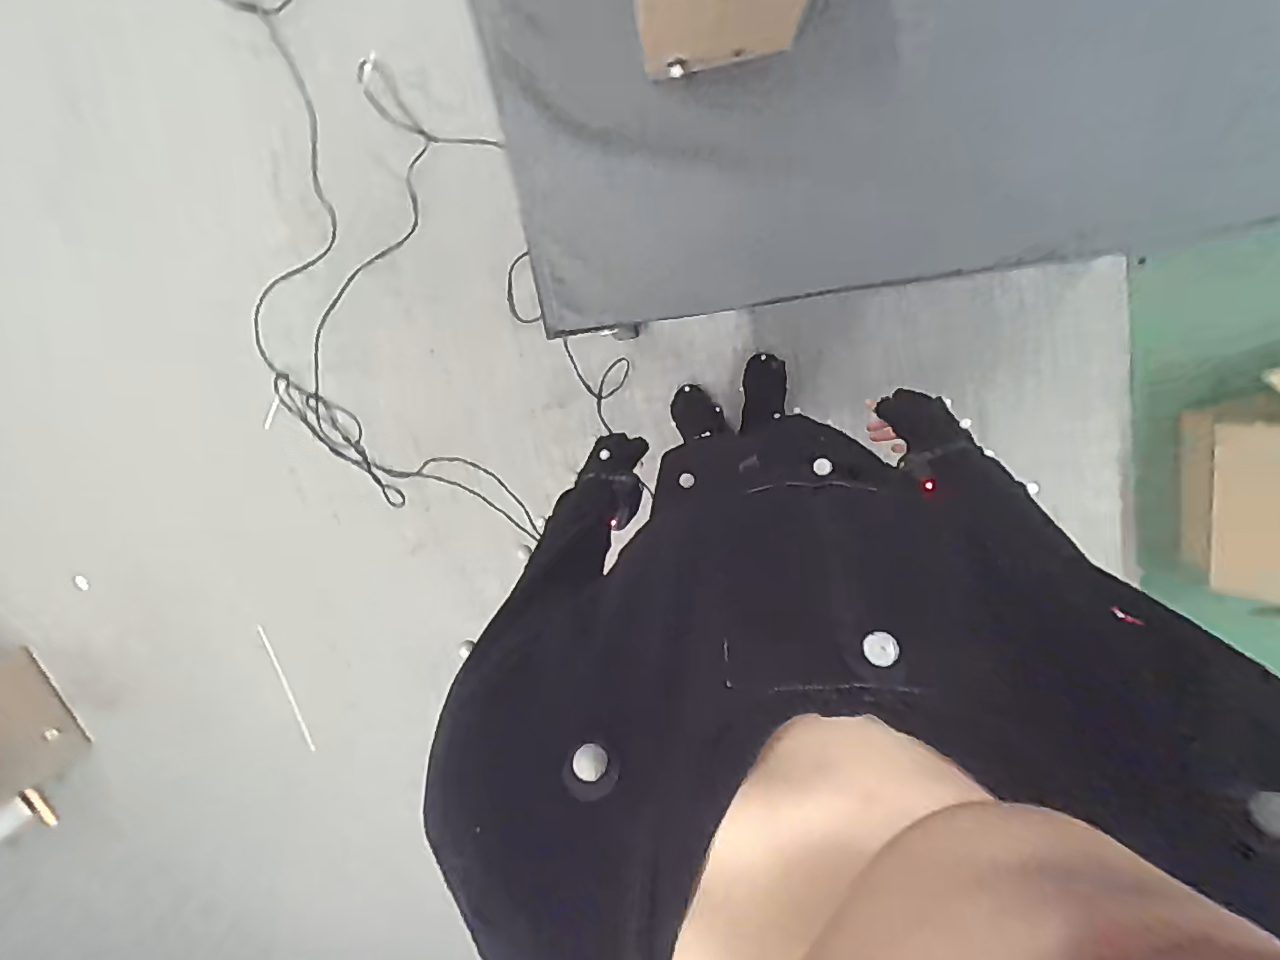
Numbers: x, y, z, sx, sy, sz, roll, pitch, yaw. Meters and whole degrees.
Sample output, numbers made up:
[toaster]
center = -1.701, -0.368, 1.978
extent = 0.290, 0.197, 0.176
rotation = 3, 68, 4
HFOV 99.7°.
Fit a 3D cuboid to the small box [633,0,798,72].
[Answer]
[small box]
center = 0.069, -0.543, 0.533
extent = 0.168, 0.176, 0.179
rotation = -9, 101, 6
